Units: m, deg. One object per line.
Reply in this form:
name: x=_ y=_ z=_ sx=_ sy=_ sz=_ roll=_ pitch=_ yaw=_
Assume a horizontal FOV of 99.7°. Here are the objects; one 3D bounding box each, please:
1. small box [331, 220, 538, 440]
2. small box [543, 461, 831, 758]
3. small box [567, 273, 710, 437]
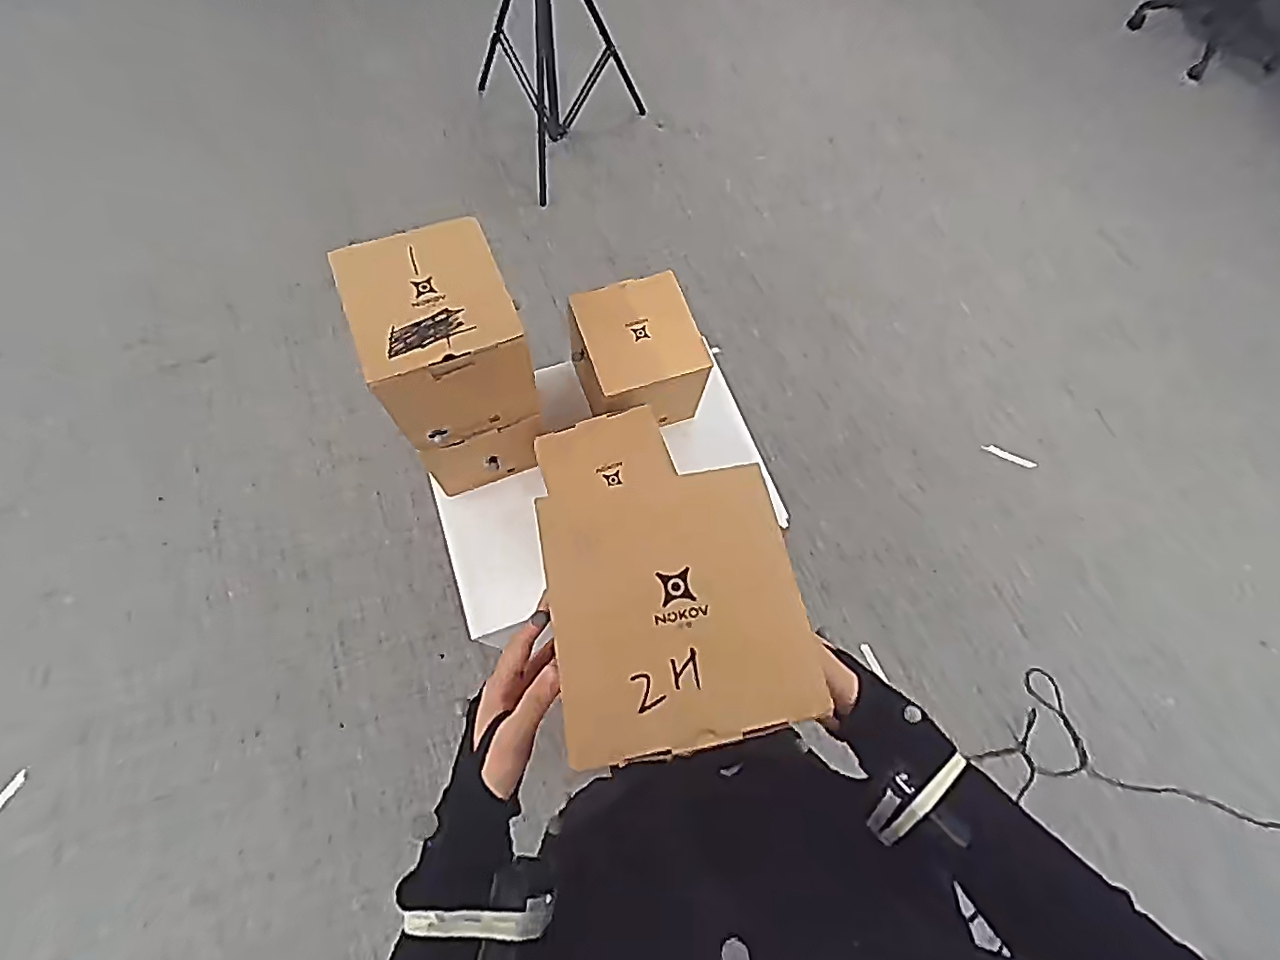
small box: x=-0.232 y=-0.165 z=0.648 sx=0.168 sy=0.176 sz=0.179 roll=-21 pitch=73 yaw=-12
small box: x=0.020 y=0.106 z=0.431 sx=0.168 sy=0.176 sz=0.179 roll=-9 pitch=68 yaw=-7
small box: x=-0.006 y=-0.184 z=0.850 sx=0.168 sy=0.176 sz=0.179 roll=-18 pitch=72 yaw=-10
